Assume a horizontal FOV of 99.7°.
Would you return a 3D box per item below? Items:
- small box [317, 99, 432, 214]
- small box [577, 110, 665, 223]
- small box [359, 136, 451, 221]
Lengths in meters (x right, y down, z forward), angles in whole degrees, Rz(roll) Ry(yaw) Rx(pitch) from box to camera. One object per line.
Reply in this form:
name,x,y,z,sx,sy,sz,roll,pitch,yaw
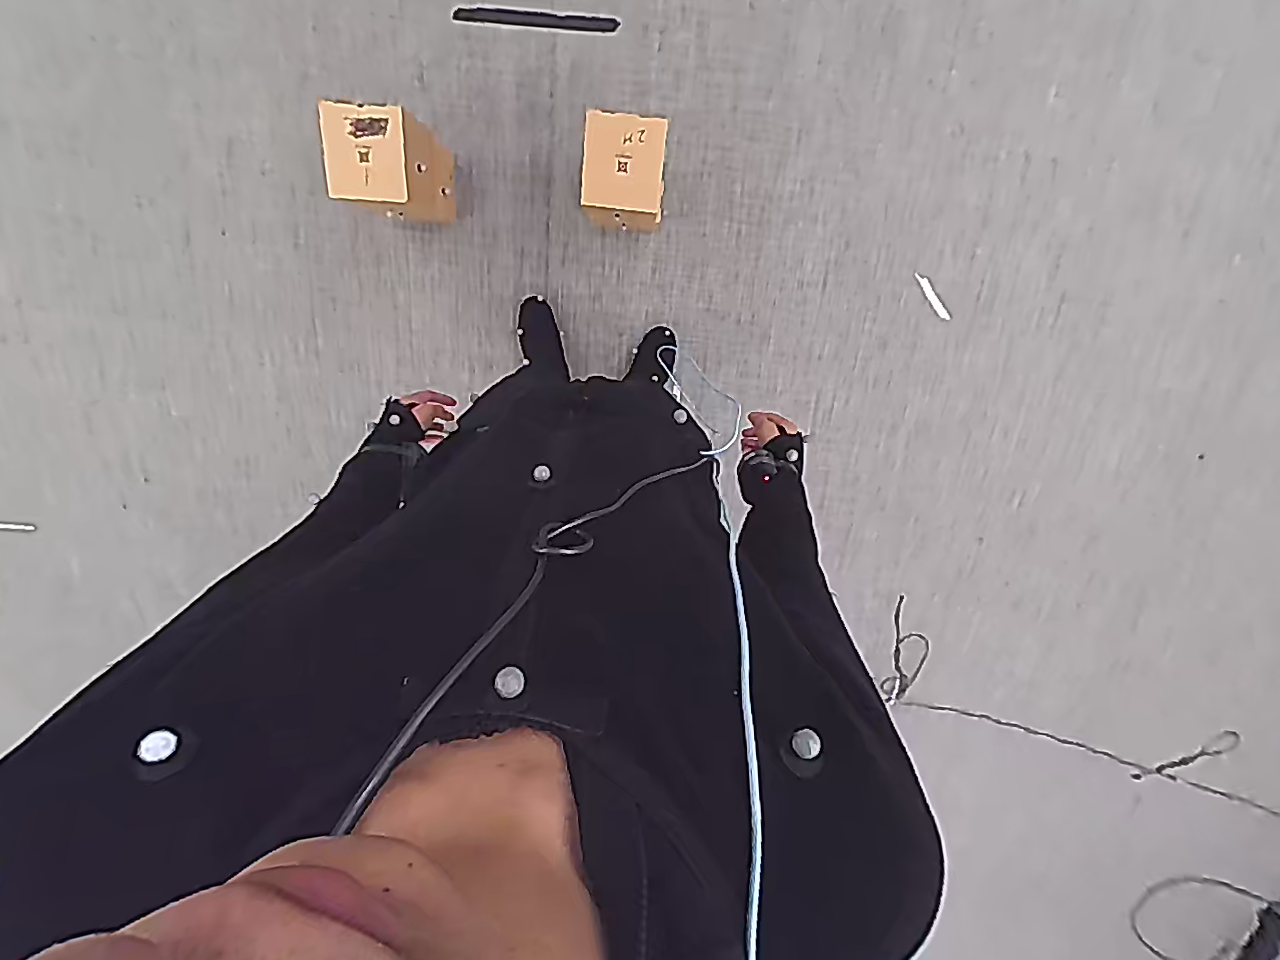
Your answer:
small box,-0.560,-0.686,1.164,0.168,0.176,0.179,4,109,-2
small box,-0.042,-0.673,1.181,0.168,0.176,0.179,6,108,-4
small box,-0.569,-0.736,1.320,0.179,0.176,0.168,3,109,-2
